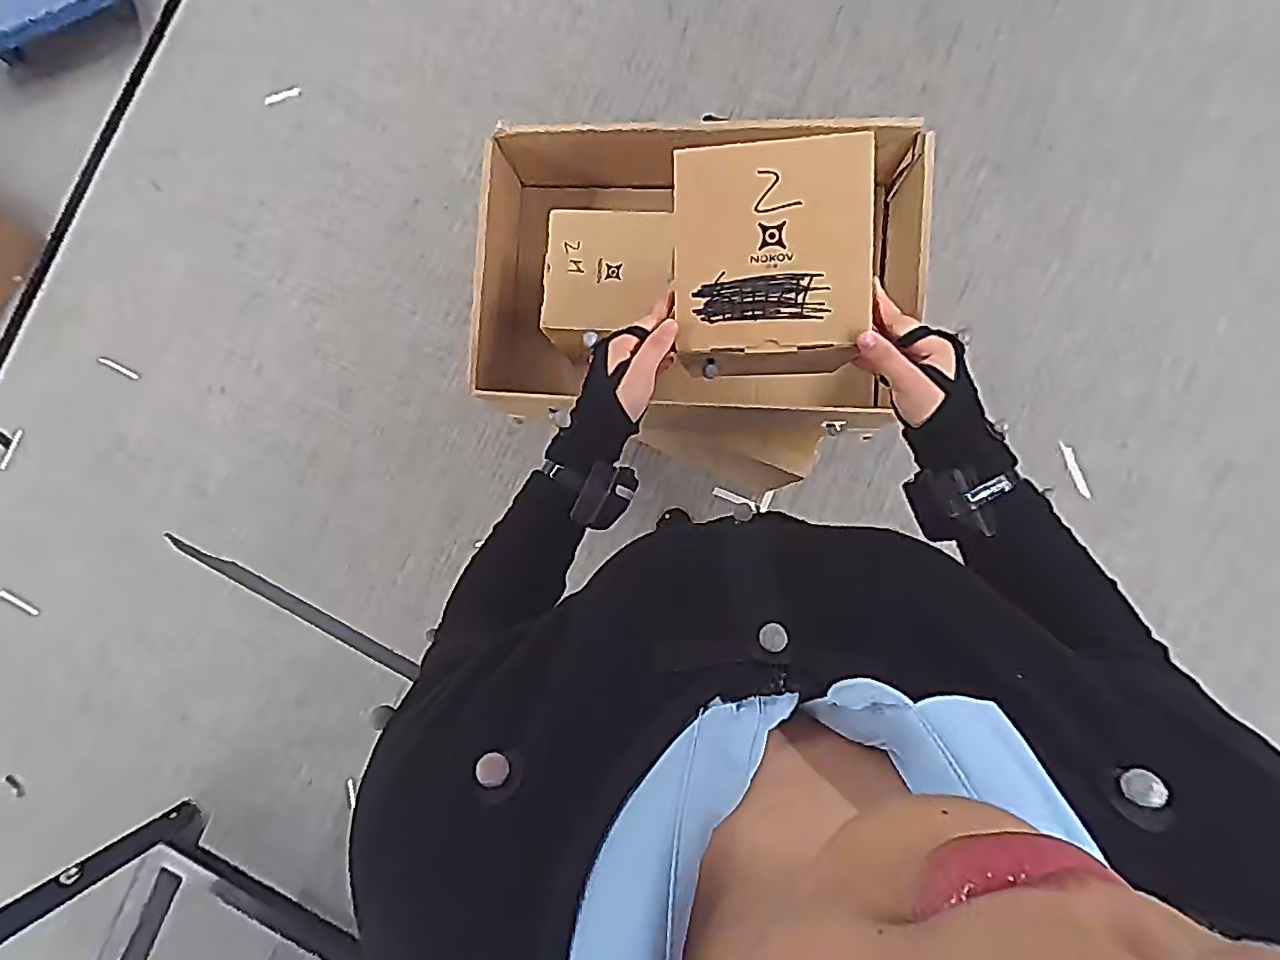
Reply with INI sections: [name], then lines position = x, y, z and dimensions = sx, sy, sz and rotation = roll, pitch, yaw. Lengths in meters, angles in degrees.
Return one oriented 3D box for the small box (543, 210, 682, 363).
[small box]
position = -0.031, -0.276, 0.806
dimensions = 0.179, 0.176, 0.168
rotation = 5, 88, 6
